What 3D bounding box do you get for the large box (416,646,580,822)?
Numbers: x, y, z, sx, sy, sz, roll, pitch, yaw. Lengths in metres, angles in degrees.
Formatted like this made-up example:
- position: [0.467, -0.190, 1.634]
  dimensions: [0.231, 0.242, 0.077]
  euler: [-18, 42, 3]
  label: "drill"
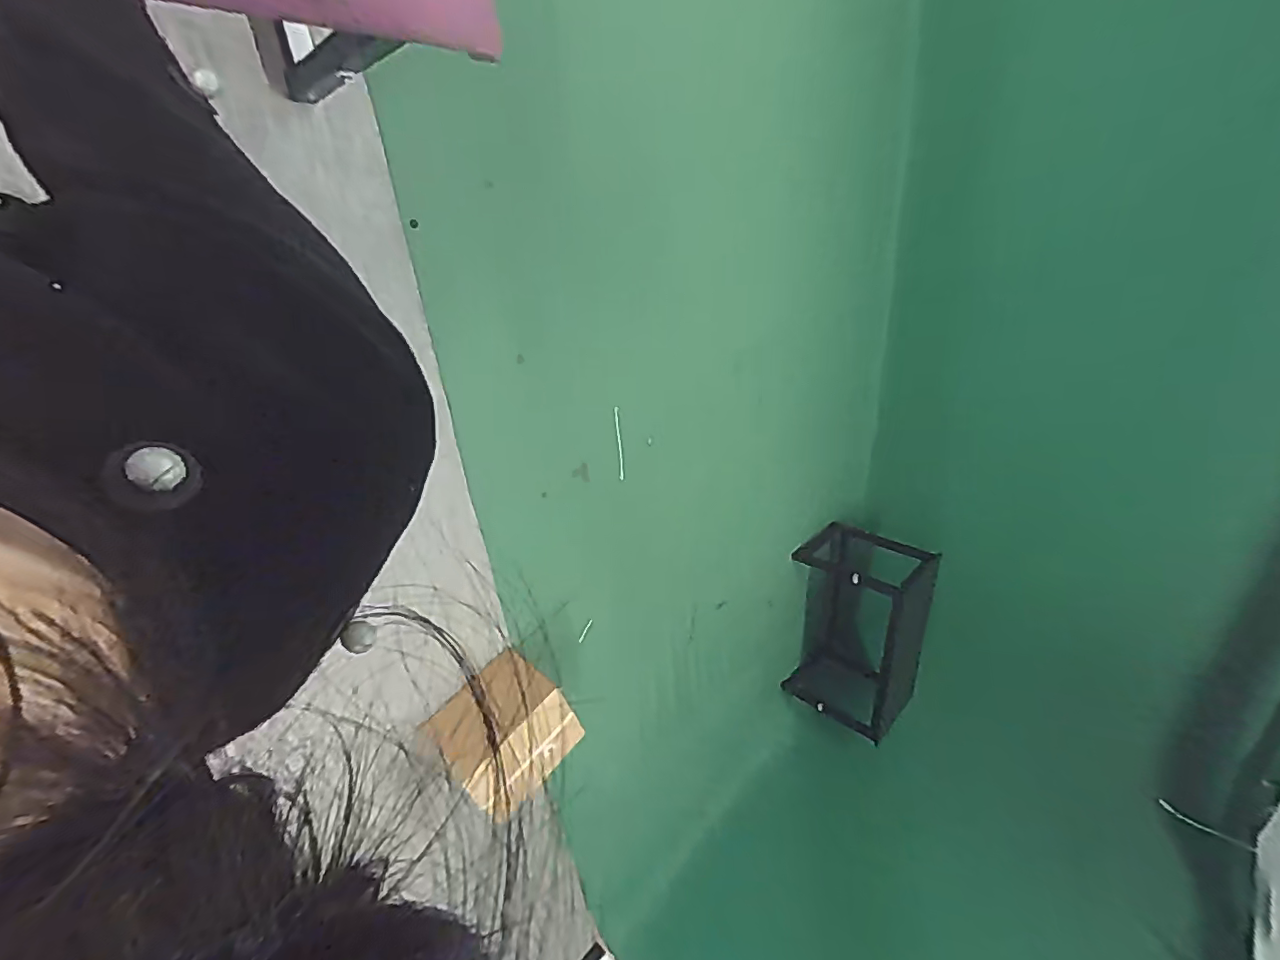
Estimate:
- position: [-0.495, 0.884, 1.921]
  dimensions: [0.408, 0.320, 0.320]
  euler: [-41, 132, -30]
  label: "large box"
